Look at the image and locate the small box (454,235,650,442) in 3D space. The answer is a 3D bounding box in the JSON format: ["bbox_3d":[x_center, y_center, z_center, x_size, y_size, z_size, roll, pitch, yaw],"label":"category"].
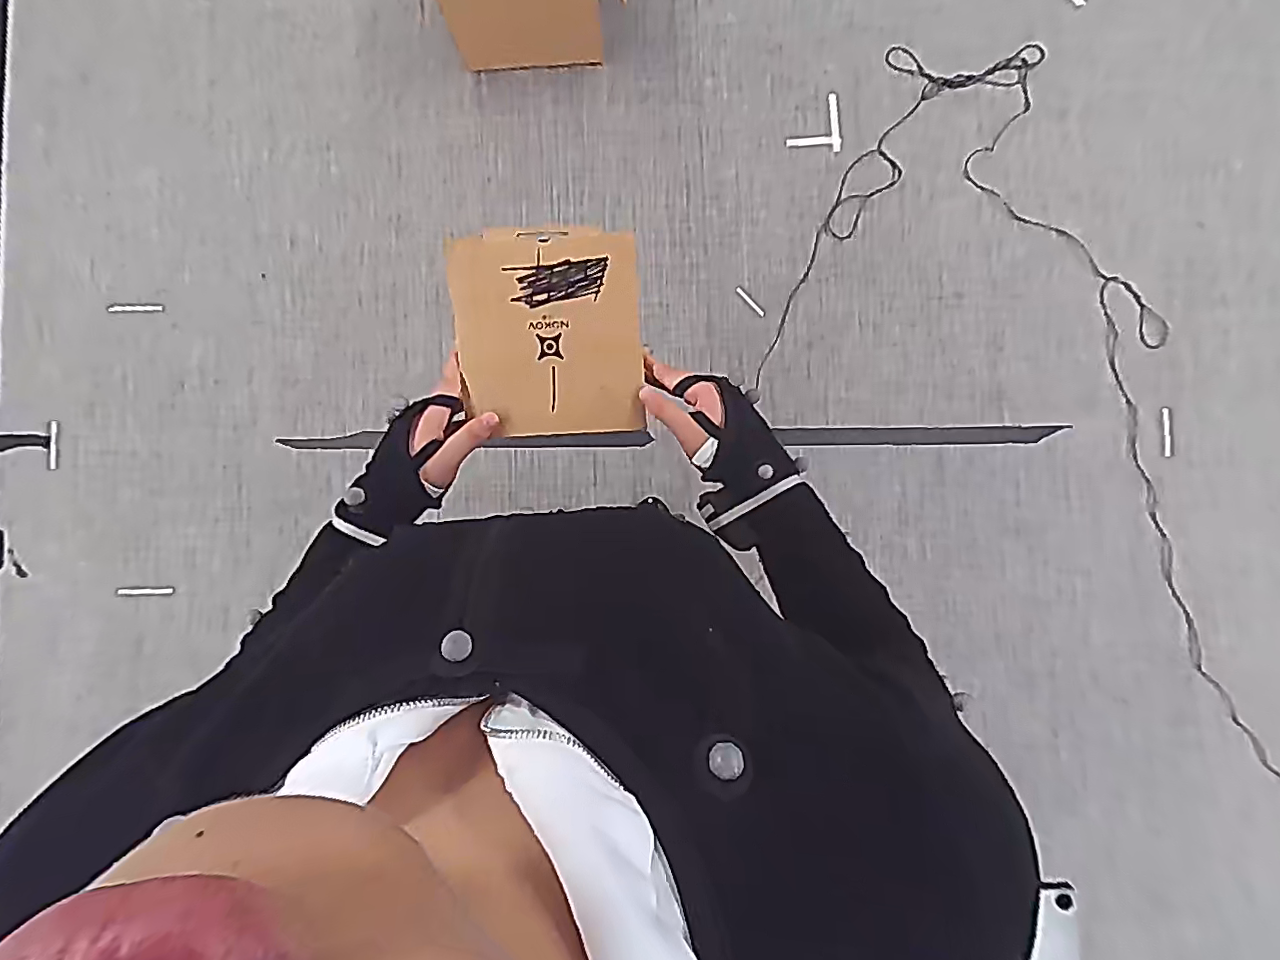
[{"bbox_3d":[-0.080,-0.133,0.552,0.168,0.176,0.179,-3,99,-3],"label":"small box"}]
